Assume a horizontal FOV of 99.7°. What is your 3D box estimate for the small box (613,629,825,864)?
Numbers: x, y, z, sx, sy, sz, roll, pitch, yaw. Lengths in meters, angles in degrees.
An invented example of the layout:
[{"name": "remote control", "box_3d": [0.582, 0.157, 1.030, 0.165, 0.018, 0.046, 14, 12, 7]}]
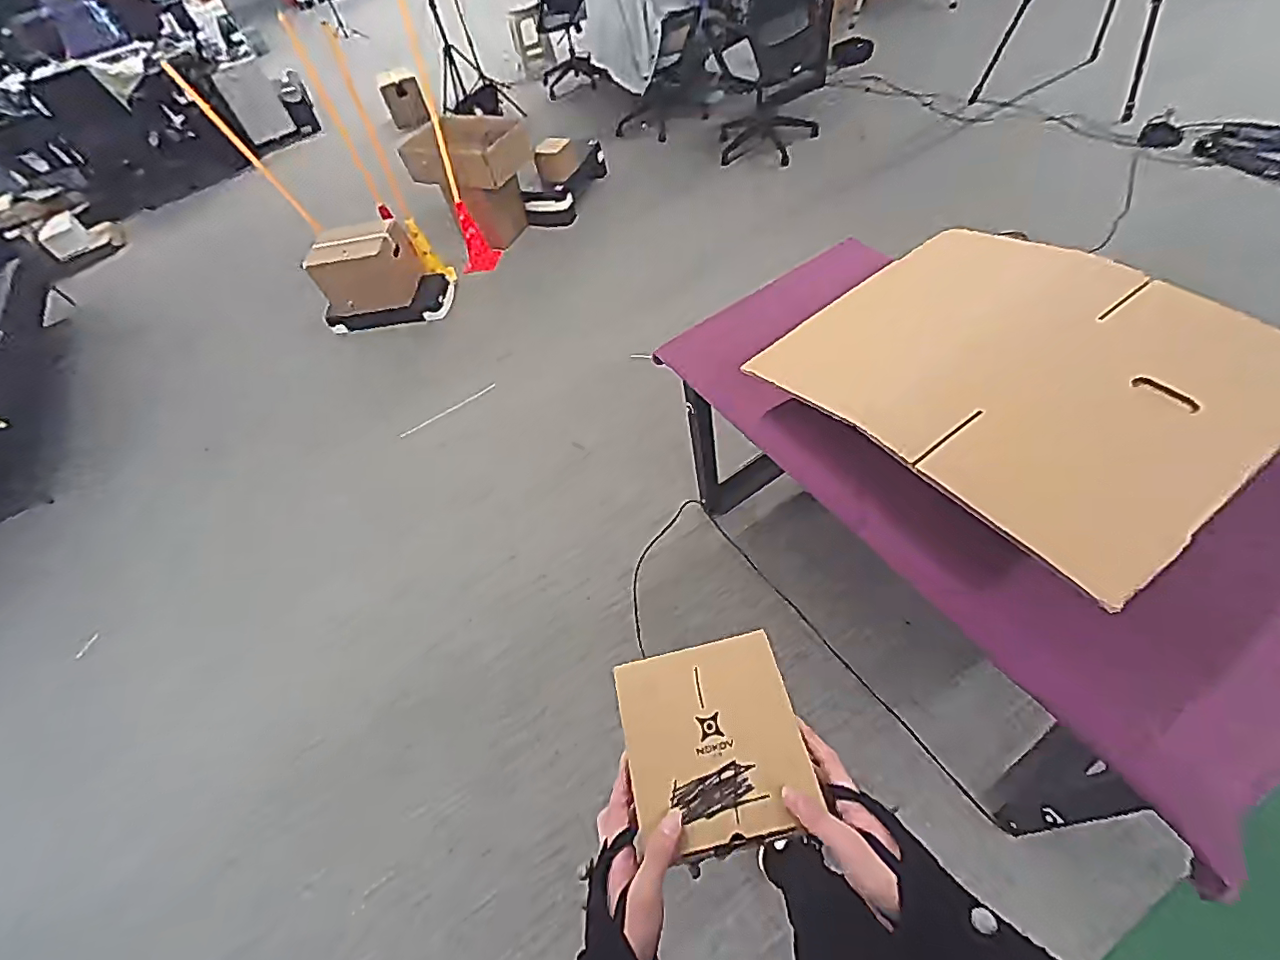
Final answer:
[{"name": "small box", "box_3d": [0.078, 0.284, 0.570, 0.168, 0.176, 0.179, -13, 52, 0]}]
